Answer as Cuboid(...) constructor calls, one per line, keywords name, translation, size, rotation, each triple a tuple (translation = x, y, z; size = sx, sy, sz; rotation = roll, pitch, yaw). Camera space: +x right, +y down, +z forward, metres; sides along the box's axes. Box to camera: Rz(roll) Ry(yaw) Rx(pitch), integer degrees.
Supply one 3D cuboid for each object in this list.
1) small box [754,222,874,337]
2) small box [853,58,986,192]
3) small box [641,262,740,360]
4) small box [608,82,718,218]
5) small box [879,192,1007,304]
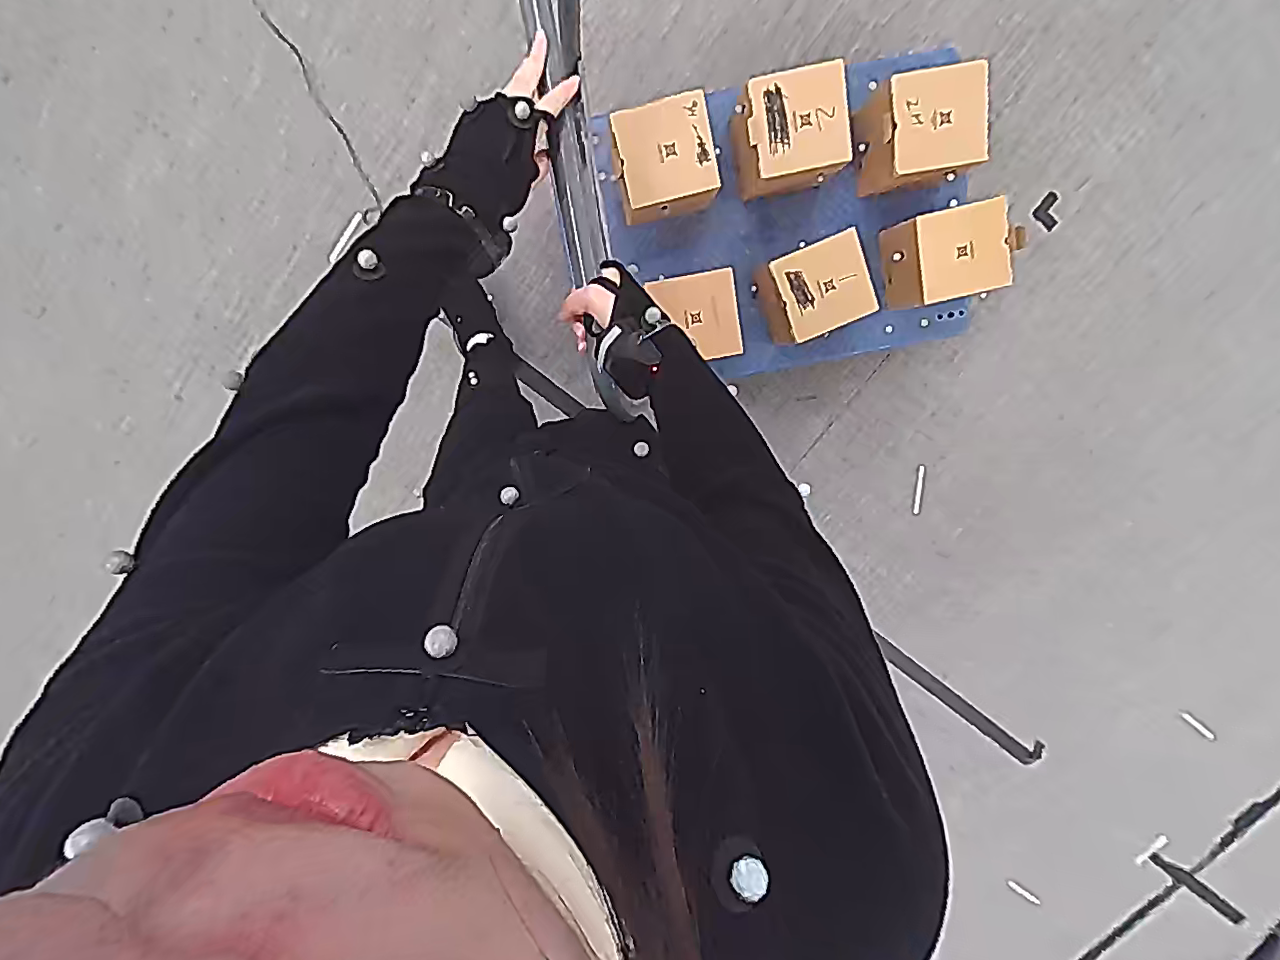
Cuboid(name="small box", translation=(0.350, -0.405, 1.126), size=(0.179, 0.176, 0.168), rotation=(-22, 104, 3))
Cuboid(name="small box", translation=(0.539, -0.684, 1.060), size=(0.179, 0.176, 0.168), rotation=(-8, 104, 1))
Cuboid(name="small box", translation=(0.099, -0.347, 1.132), size=(0.179, 0.176, 0.168), rotation=(-10, 105, 0))
Cuboid(name="small box", translation=(0.043, -0.630, 1.056), size=(0.179, 0.176, 0.168), rotation=(-13, 105, 2))
Cuboid(name="small box", translation=(0.615, -0.469, 1.119), size=(0.179, 0.176, 0.168), rotation=(-13, 104, 1))
